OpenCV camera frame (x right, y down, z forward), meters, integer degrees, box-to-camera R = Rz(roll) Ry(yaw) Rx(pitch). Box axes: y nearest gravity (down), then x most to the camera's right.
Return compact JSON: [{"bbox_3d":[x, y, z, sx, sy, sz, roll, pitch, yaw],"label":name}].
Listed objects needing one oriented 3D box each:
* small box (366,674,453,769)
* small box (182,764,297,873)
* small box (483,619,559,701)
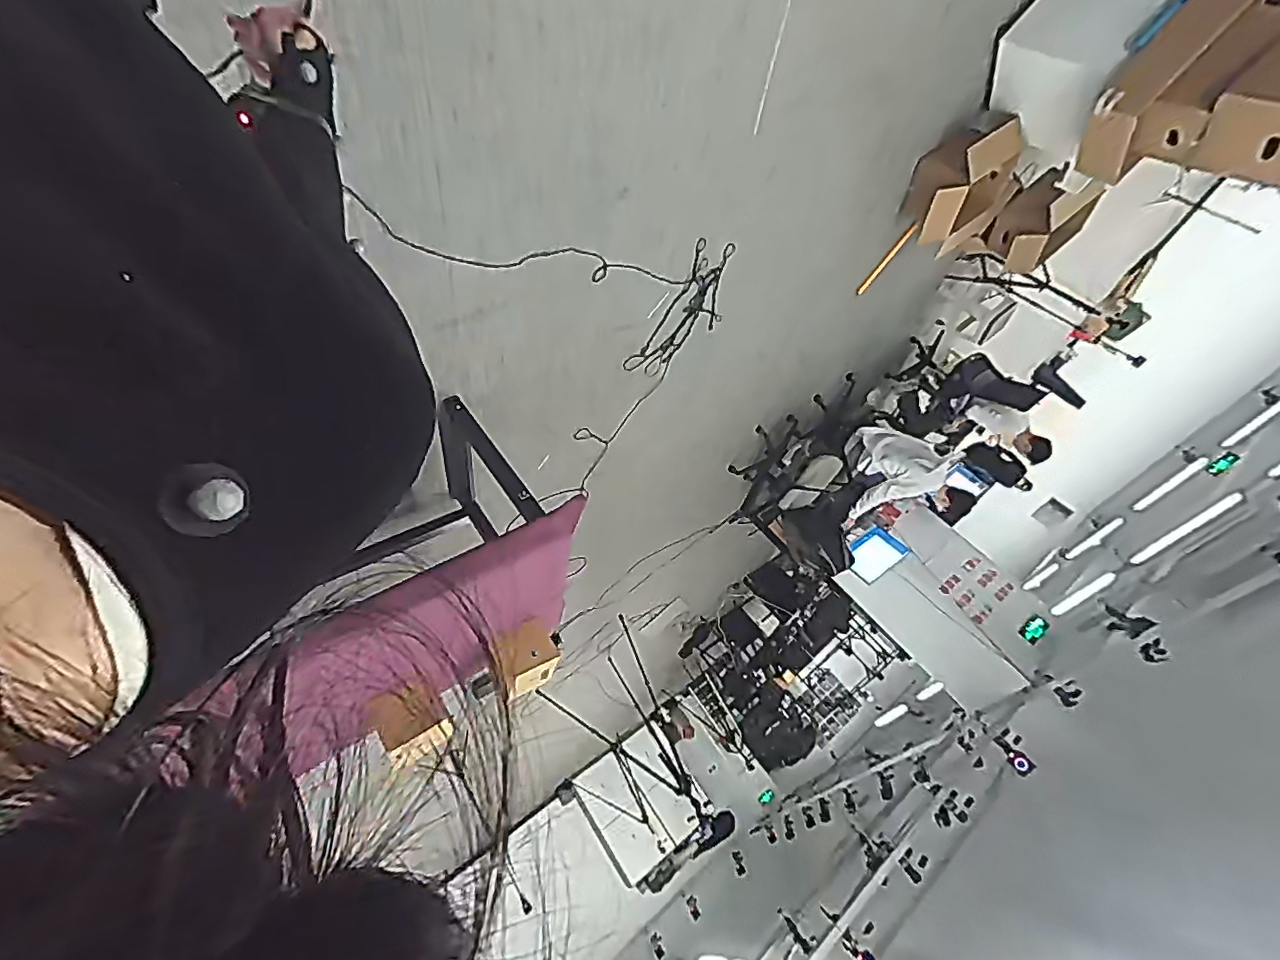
[{"bbox_3d":[-0.688,0.716,1.619,0.179,0.176,0.168,-26,148,-30],"label":"small box"},{"bbox_3d":[-1.023,0.865,1.388,0.168,0.176,0.179,-30,149,-27],"label":"small box"},{"bbox_3d":[-0.404,0.601,1.827,0.179,0.176,0.168,-16,142,-40],"label":"small box"}]
